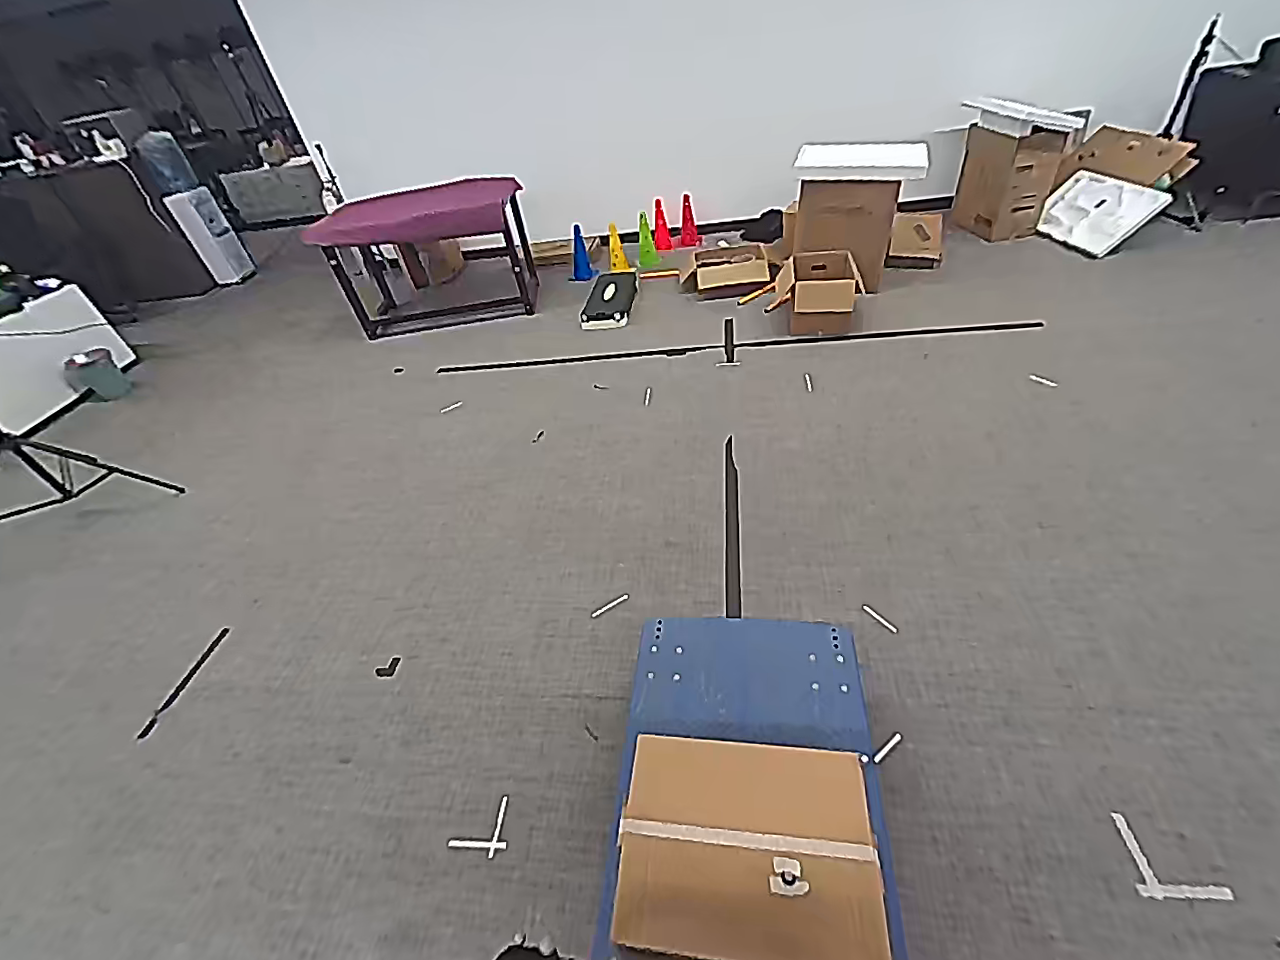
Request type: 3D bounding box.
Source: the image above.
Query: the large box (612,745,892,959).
[{"bbox_3d":[0.187,0.708,0.966,0.408,0.320,0.320,0,42,10],"label":"large box"}]
